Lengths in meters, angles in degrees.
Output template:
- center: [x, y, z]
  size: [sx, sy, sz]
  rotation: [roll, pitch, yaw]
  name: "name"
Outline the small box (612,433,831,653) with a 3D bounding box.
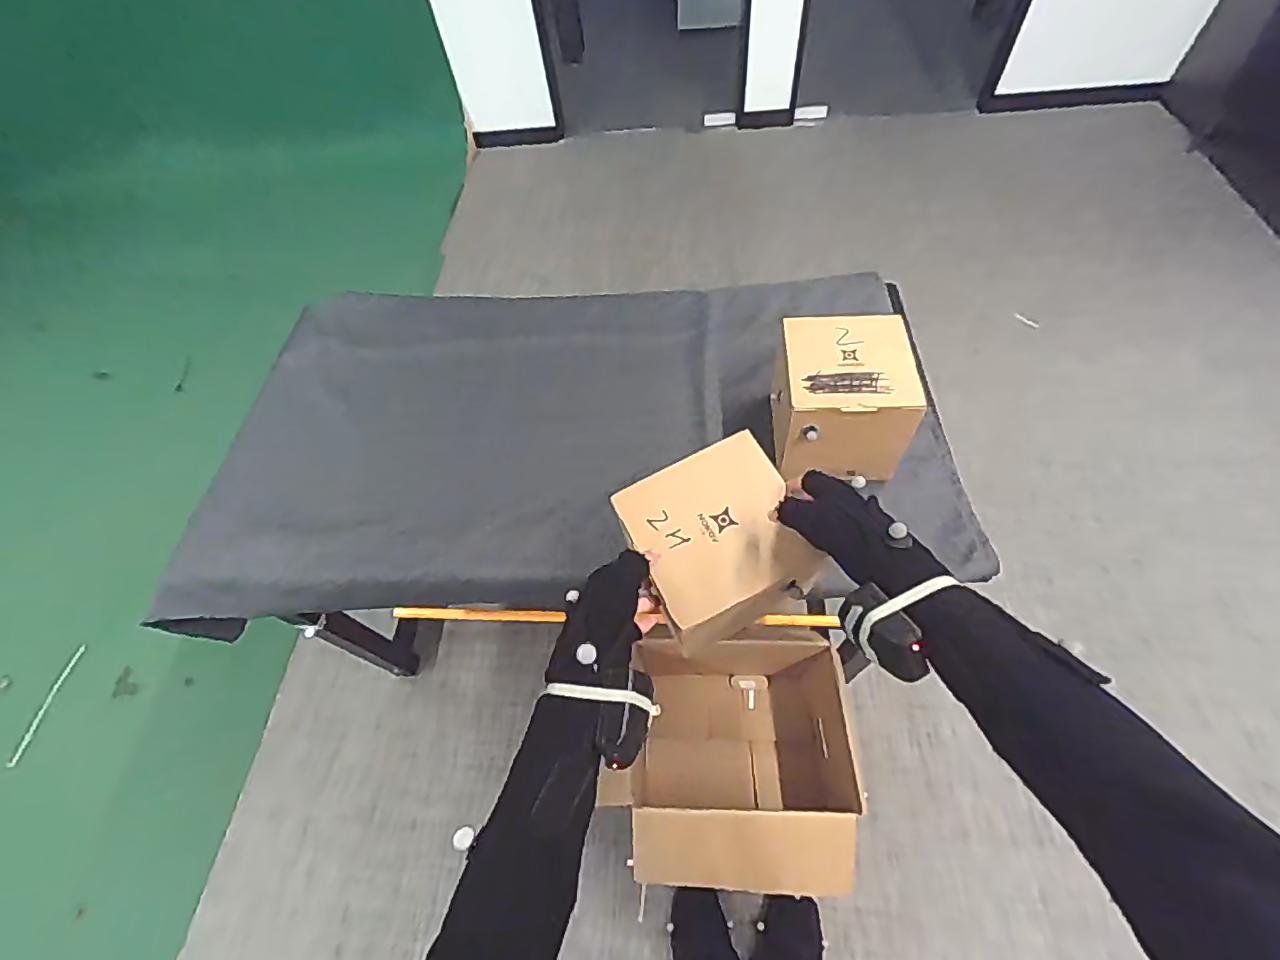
- center: [0.088, 0.081, 0.630]
  size: [0.179, 0.176, 0.168]
  rotation: [-27, 63, -6]
  name: "small box"
